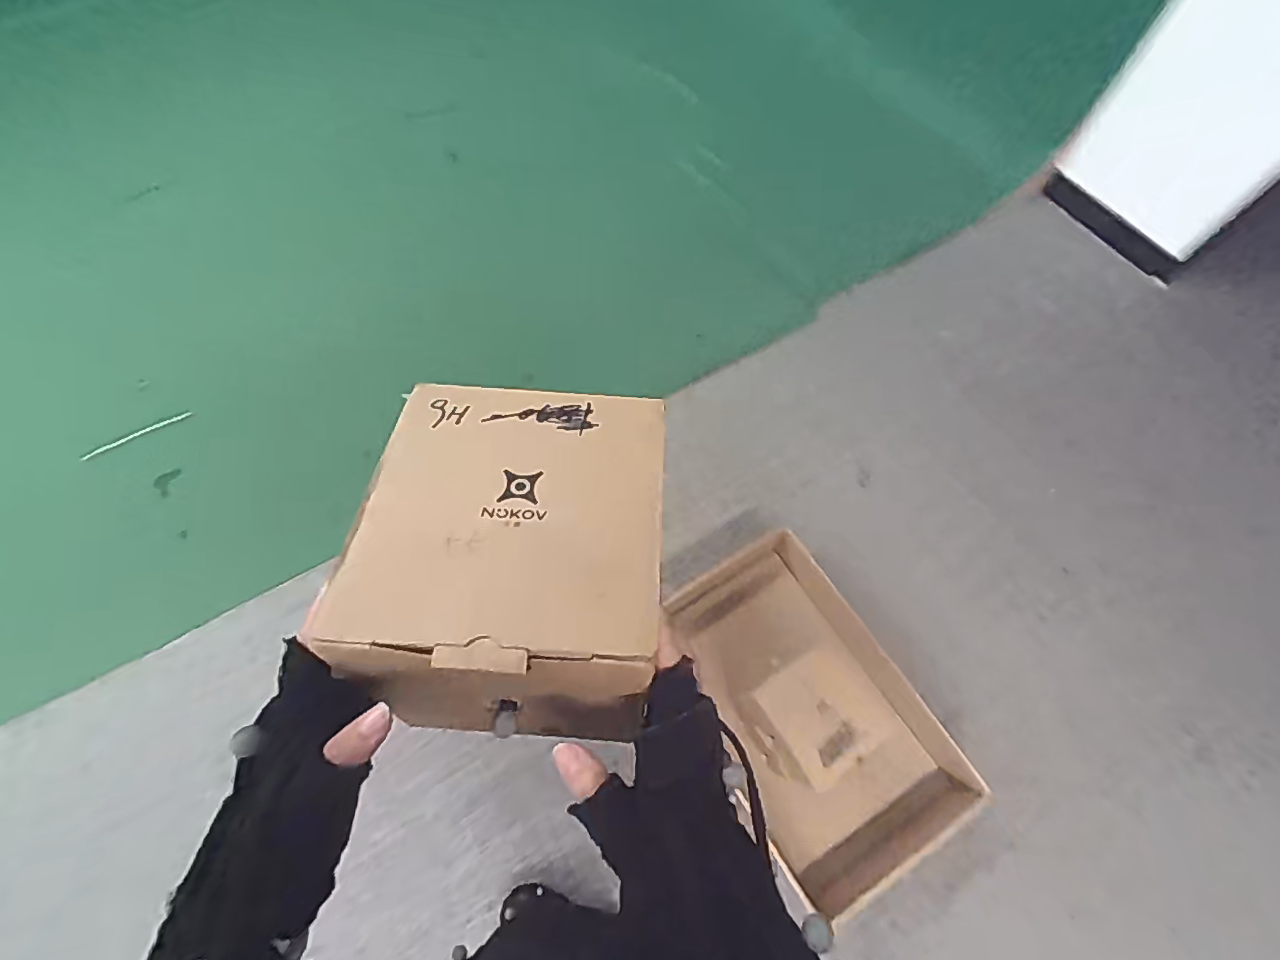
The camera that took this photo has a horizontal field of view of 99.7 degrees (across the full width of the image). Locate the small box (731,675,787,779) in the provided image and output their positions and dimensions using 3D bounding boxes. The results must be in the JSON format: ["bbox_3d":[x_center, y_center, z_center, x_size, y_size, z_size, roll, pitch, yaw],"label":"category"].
[{"bbox_3d":[0.298,0.476,1.097,0.179,0.176,0.168,-27,68,-11],"label":"small box"}]

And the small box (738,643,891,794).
[{"bbox_3d":[0.292,0.411,0.947,0.168,0.176,0.179,-29,68,-10],"label":"small box"}]
